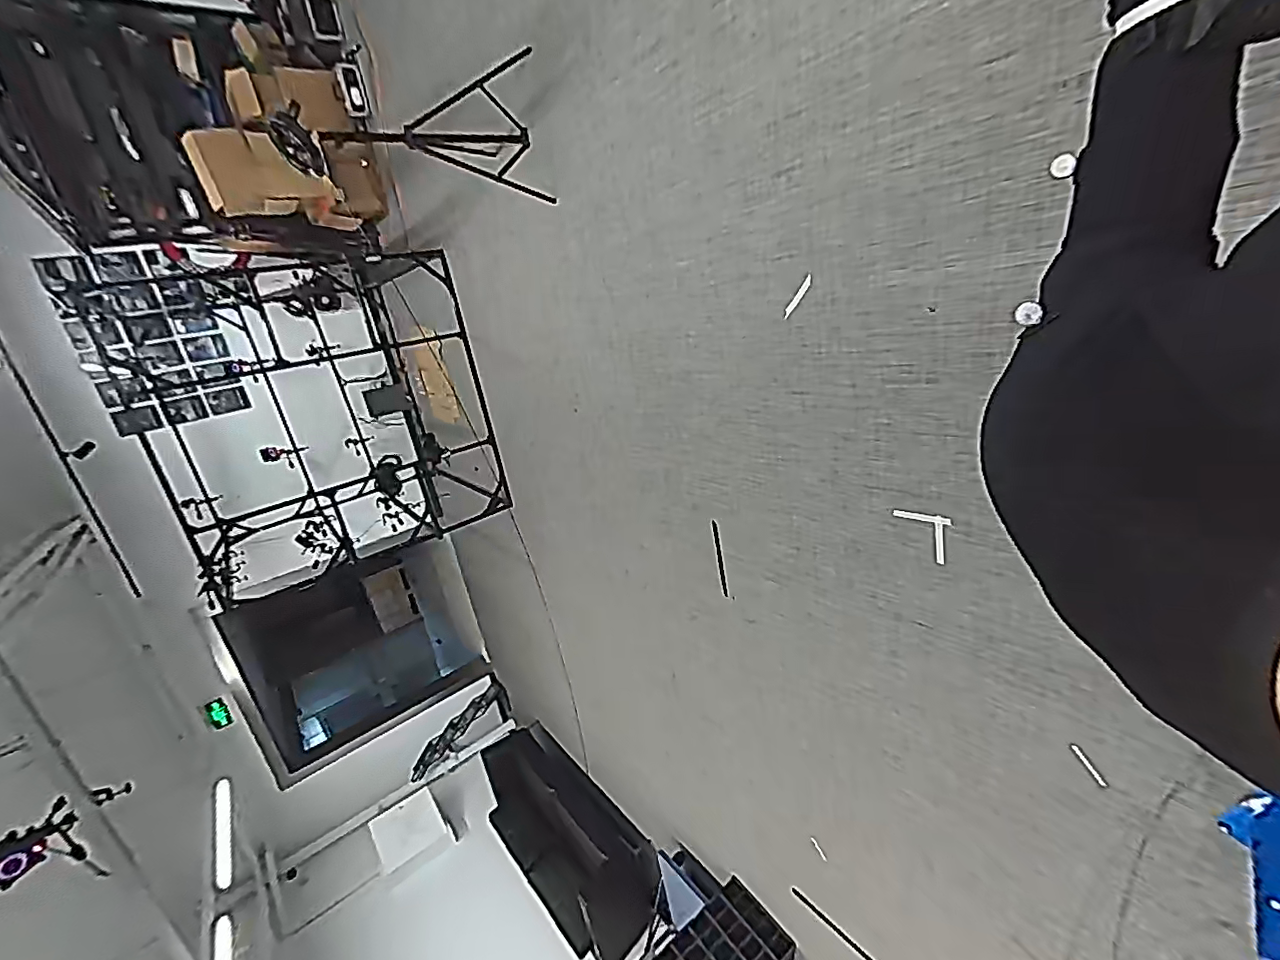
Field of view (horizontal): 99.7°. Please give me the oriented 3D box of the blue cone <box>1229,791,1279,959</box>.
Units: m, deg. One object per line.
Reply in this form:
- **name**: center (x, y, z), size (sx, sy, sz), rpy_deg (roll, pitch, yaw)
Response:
- **blue cone**: center (1.338, 0.846, 1.105), size (0.193, 0.380, 0.192), rpy_deg (40, 139, 38)
